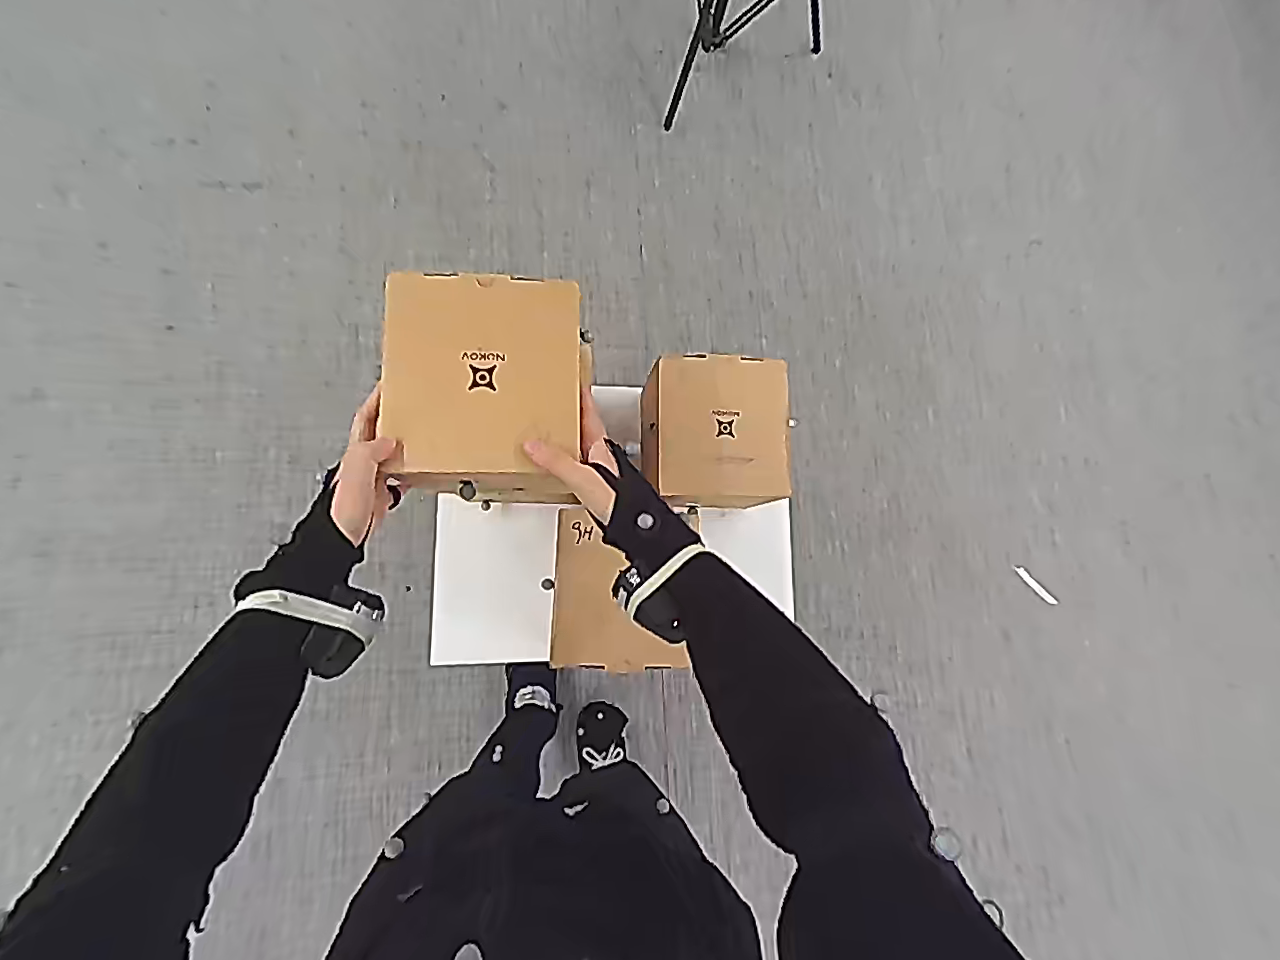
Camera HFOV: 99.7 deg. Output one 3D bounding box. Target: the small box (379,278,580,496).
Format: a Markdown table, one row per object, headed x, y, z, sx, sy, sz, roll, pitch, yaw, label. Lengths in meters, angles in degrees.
| x | y | z | sx | sy | sz | roll | pitch | yaw | label |
| --- | --- | --- | --- | --- | --- | --- | --- | --- | --- |
| -0.143 | -0.076 | 0.536 | 0.168 | 0.176 | 0.179 | 0 | 82 | -9 | small box |

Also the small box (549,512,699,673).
| x | y | z | sx | sy | sz | roll | pitch | yaw | label |
| --- | --- | --- | --- | --- | --- | --- | --- | --- | --- |
| -0.026 | 0.138 | 0.686 | 0.168 | 0.176 | 0.179 | 3 | 81 | -8 | small box |

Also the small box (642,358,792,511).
| x | y | z | sx | sy | sz | roll | pitch | yaw | label |
| --- | --- | --- | --- | --- | --- | --- | --- | --- | --- |
| 0.093 | -0.052 | 0.736 | 0.168 | 0.176 | 0.179 | 0 | 83 | -7 | small box |

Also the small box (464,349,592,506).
| x | y | z | sx | sy | sz | roll | pitch | yaw | label |
| --- | --- | --- | --- | --- | --- | --- | --- | --- | --- |
| -0.150 | -0.061 | 0.698 | 0.168 | 0.176 | 0.179 | 2 | 80 | -8 | small box |
